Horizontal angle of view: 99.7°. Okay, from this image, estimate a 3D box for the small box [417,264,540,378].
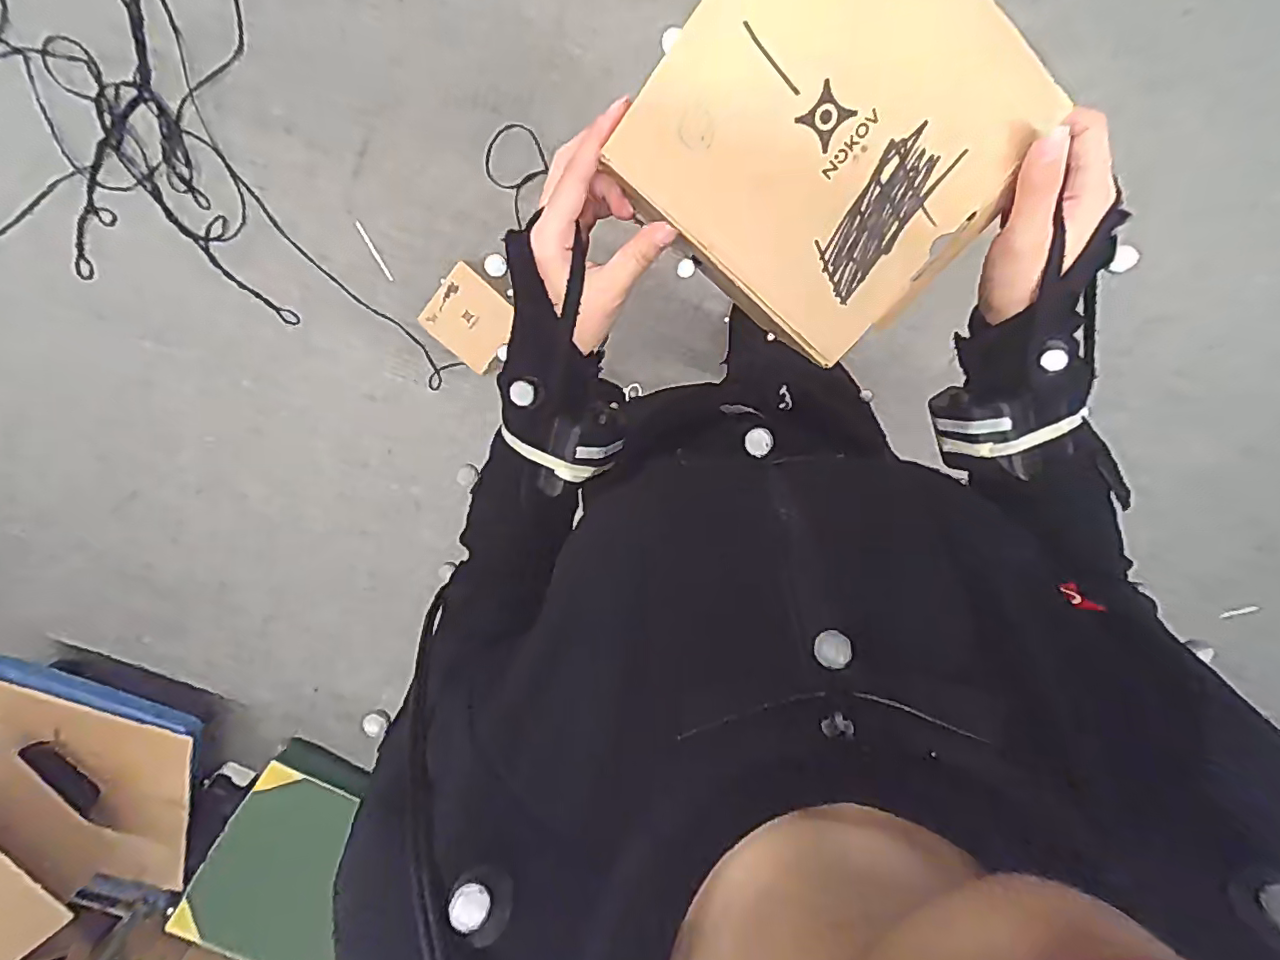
[{"bbox_3d":[-0.349,-0.357,1.204,0.179,0.176,0.168,41,106,-10],"label":"small box"}]
